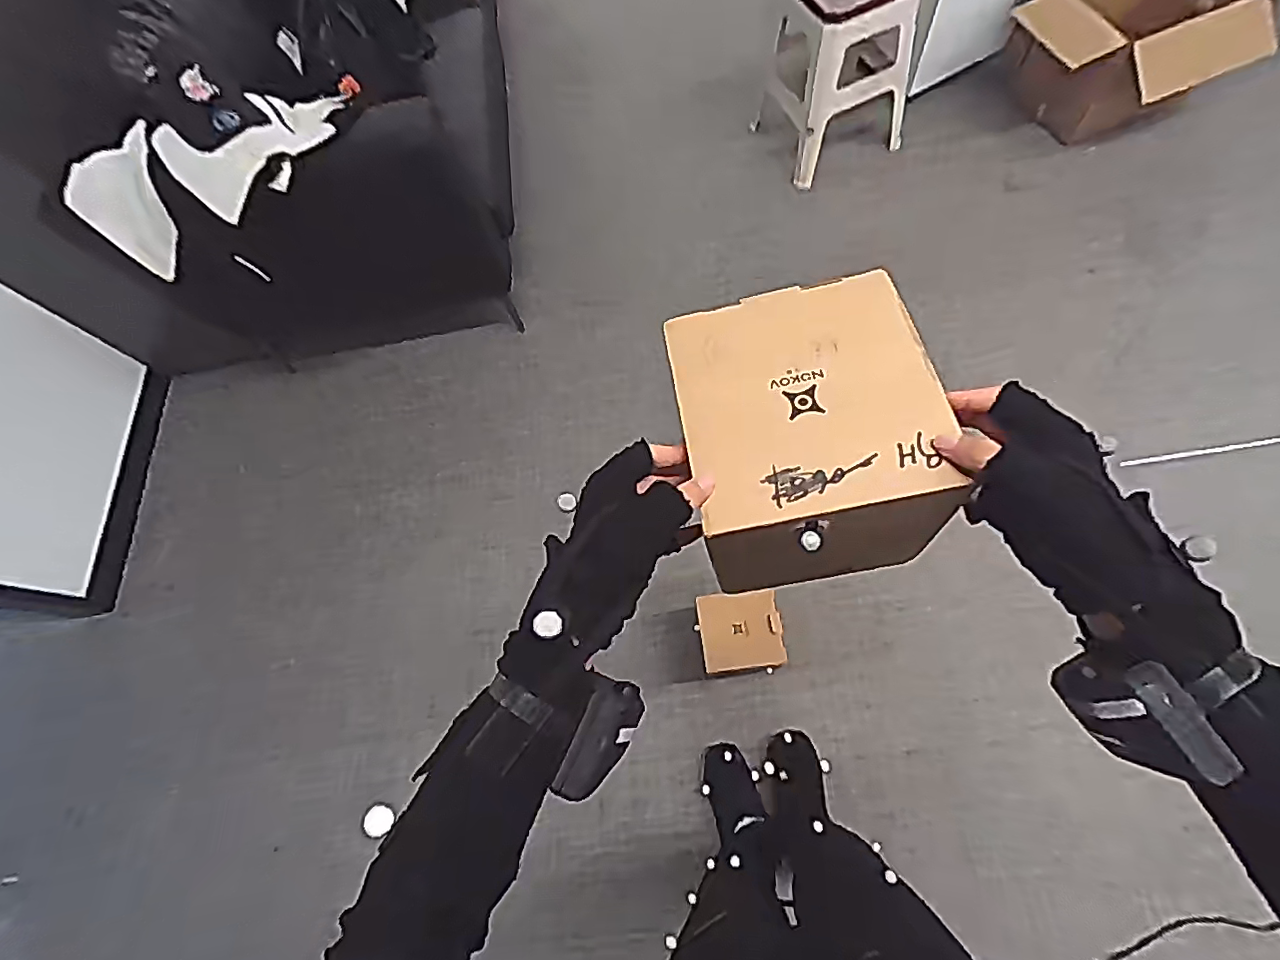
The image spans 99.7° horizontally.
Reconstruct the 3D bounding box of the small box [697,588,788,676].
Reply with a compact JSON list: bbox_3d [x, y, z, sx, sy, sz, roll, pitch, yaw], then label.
[{"bbox_3d":[0.234,0.356,1.251,0.179,0.176,0.168,-9,67,5],"label":"small box"}]

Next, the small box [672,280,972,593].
[{"bbox_3d":[0.127,-0.023,0.441,0.168,0.176,0.179,-12,63,8],"label":"small box"}]
